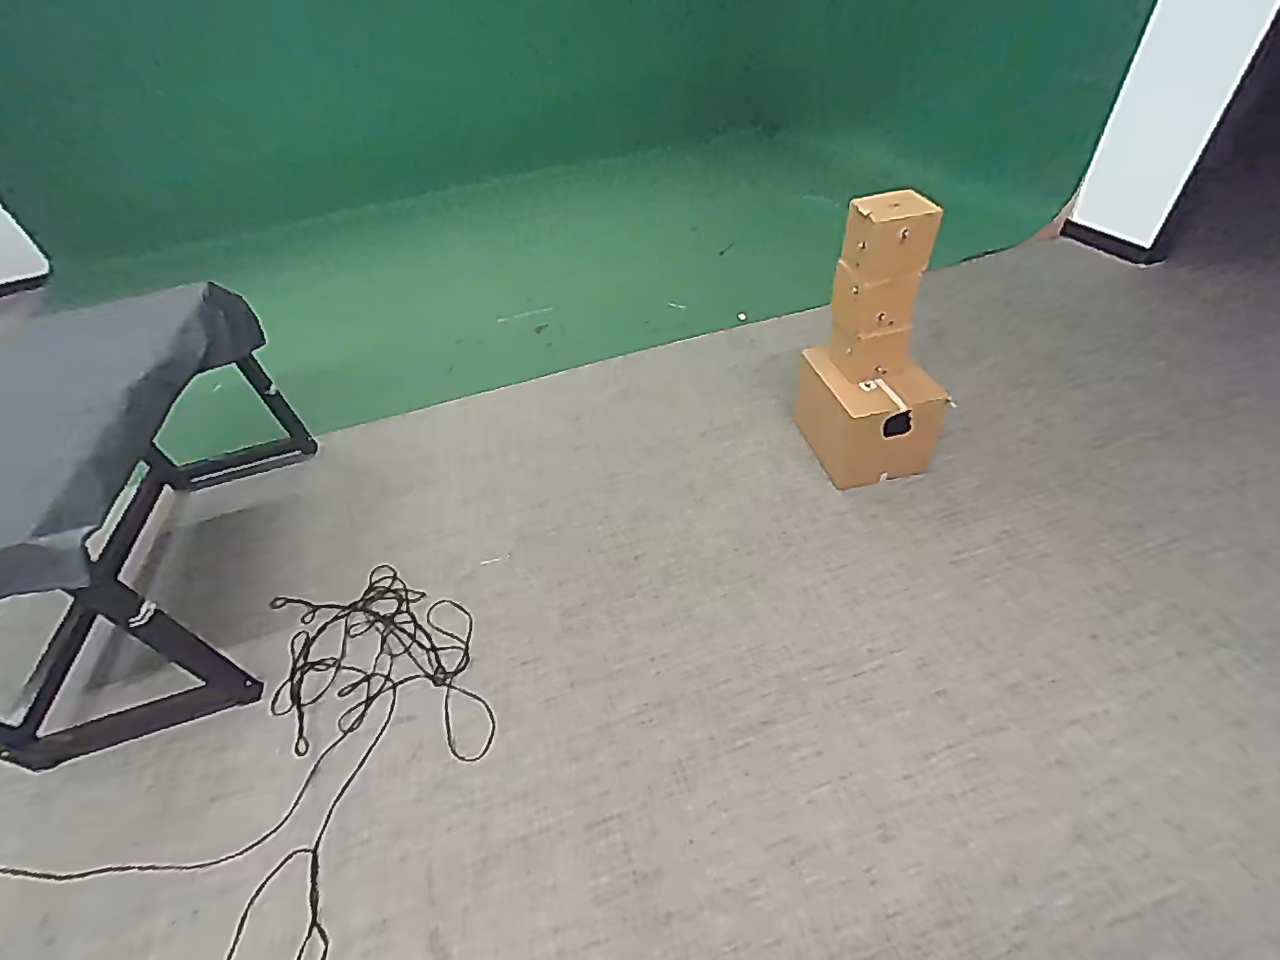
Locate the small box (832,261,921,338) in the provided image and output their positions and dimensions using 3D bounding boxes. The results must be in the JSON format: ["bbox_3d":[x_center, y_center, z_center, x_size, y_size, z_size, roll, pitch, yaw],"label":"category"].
[{"bbox_3d":[0.691,-0.545,1.604,0.168,0.176,0.179,-14,45,-5],"label":"small box"}]

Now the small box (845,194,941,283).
[{"bbox_3d":[0.684,-0.662,1.490,0.179,0.176,0.168,-11,47,-3],"label":"small box"}]

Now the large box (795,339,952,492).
[{"bbox_3d":[0.765,-0.226,1.852,0.320,0.320,0.408,-13,46,-3],"label":"large box"}]
